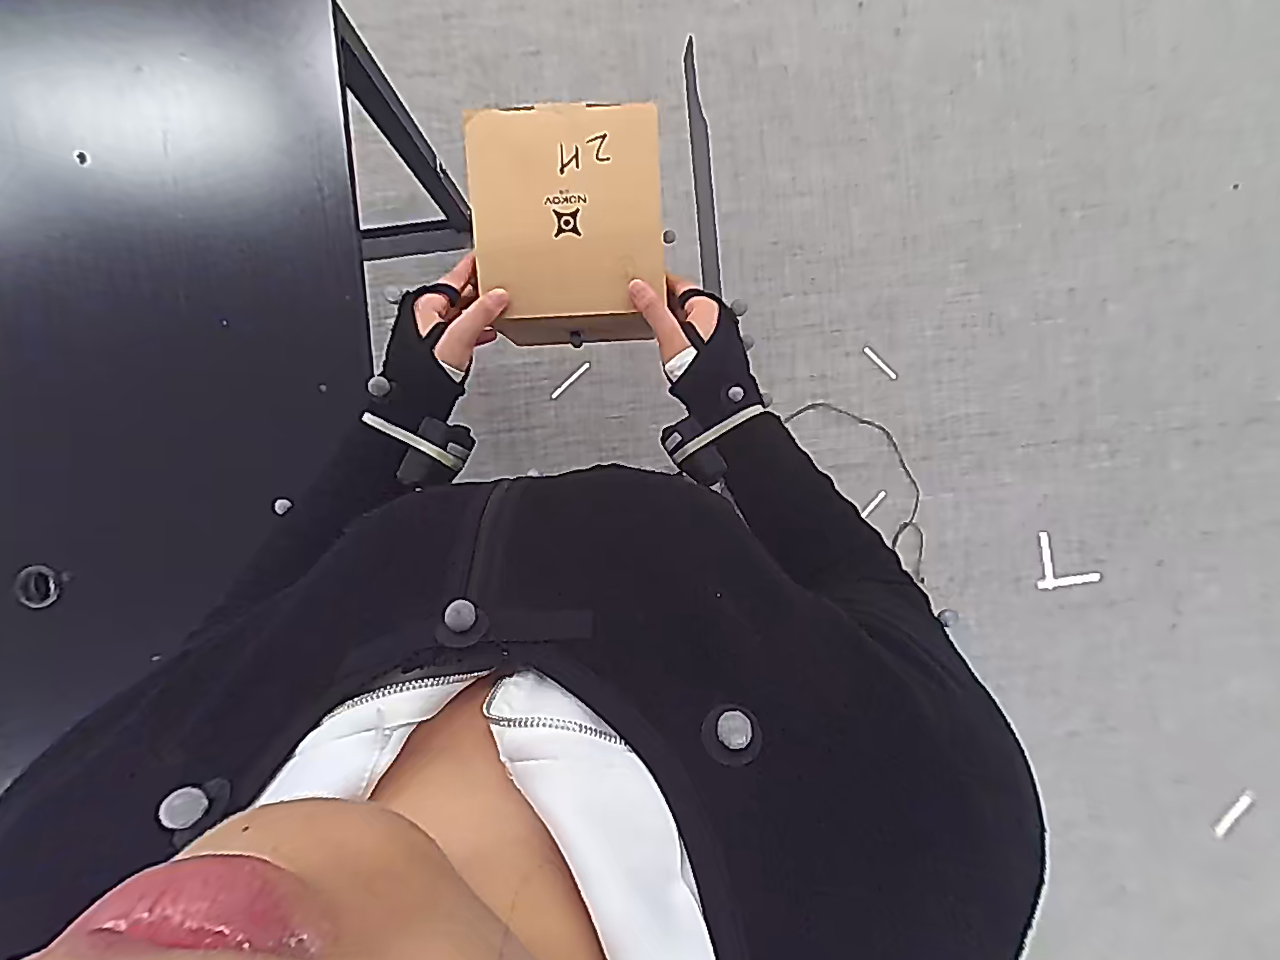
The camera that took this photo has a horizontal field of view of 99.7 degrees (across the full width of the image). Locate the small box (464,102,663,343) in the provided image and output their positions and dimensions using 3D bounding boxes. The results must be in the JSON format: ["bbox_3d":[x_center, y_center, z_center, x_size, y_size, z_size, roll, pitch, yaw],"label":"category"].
[{"bbox_3d":[-0.064,-0.238,0.545,0.168,0.176,0.179,-4,95,-1],"label":"small box"}]
